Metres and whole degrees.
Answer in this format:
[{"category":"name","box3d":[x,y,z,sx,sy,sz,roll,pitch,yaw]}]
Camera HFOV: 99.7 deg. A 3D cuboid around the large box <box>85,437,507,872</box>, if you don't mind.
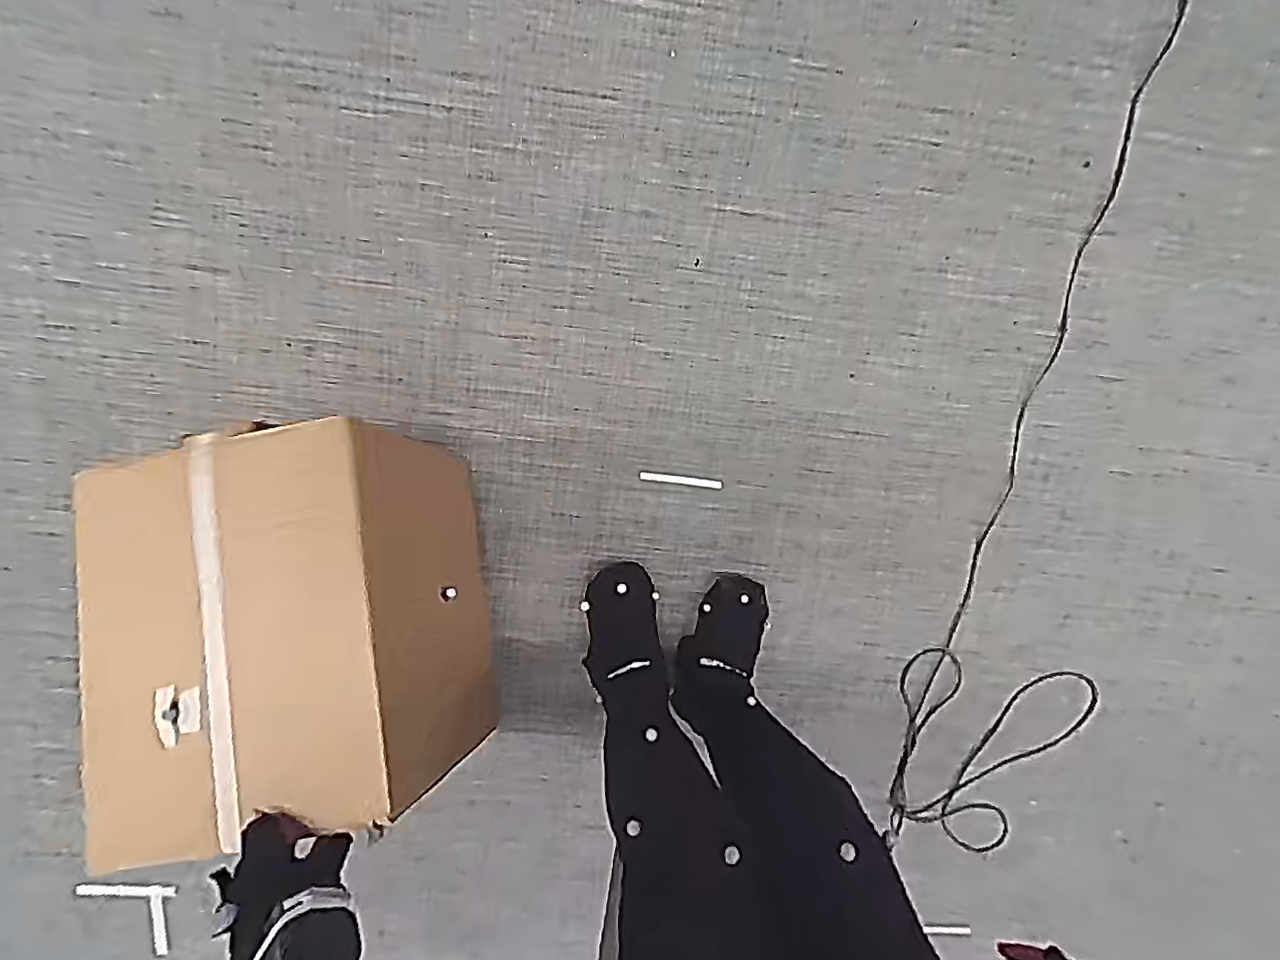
[{"category":"large box","box3d":[-0.407,0.190,0.714,0.320,0.320,0.408,-14,84,6]}]
